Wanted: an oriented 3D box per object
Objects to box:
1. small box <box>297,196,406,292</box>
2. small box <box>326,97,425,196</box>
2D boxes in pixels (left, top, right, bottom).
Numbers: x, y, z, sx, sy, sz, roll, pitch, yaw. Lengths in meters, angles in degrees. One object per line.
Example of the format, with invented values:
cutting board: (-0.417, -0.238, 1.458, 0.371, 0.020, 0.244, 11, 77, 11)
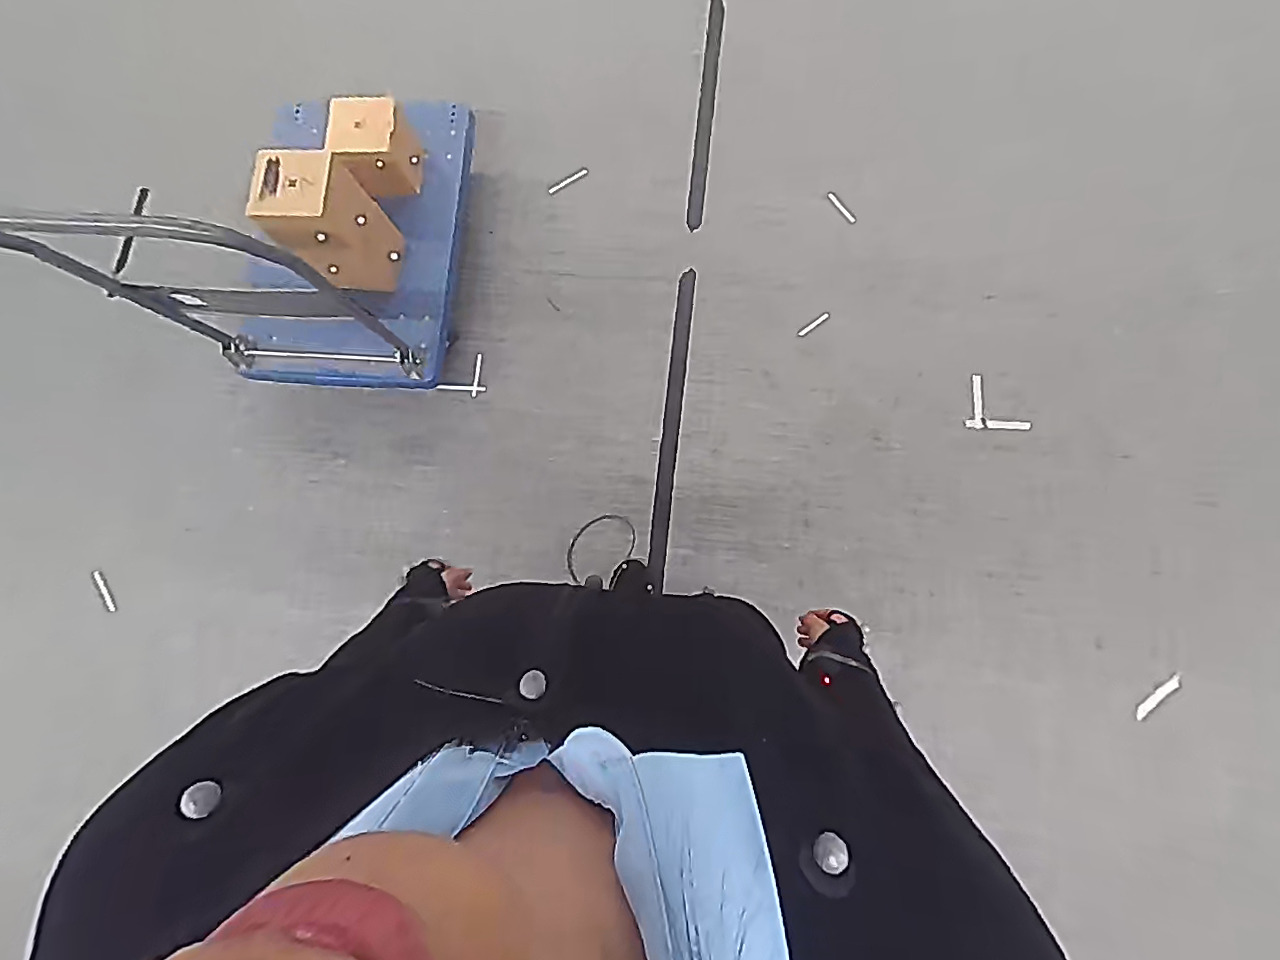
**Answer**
small box: (-0.752, -0.616, 1.426, 0.179, 0.176, 0.168, 7, 81, 4)
small box: (-0.715, -0.904, 1.477, 0.179, 0.176, 0.168, 1, 80, 3)
